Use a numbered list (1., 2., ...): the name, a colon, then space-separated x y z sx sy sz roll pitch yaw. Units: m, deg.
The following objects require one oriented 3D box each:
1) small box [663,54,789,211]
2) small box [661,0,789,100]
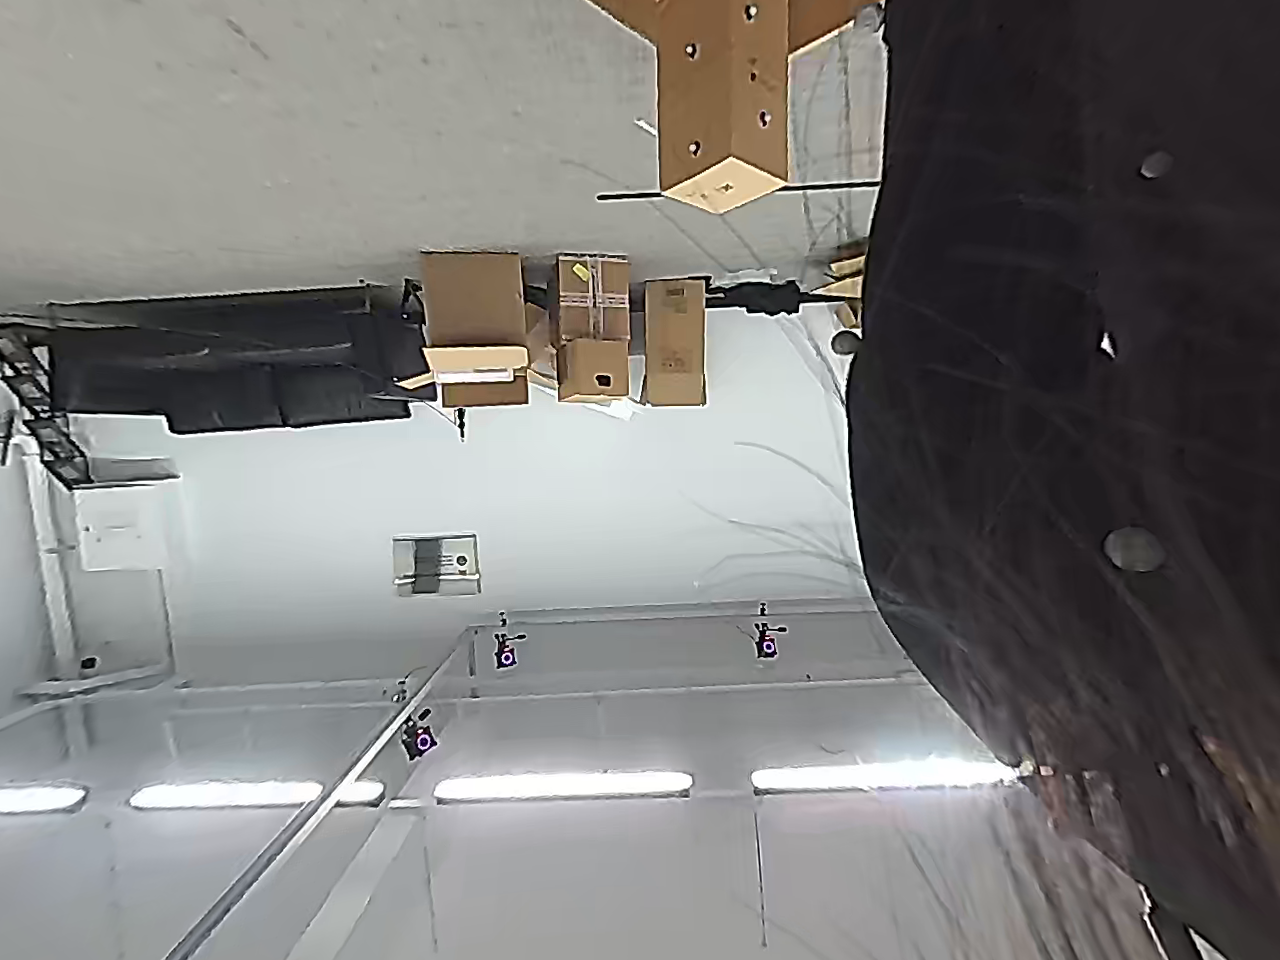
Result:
1. small box: 0.153 -0.625 0.990 0.168 0.176 0.179 -6 -173 -41
2. small box: 0.149 -0.790 0.977 0.168 0.176 0.179 -6 -172 -41
